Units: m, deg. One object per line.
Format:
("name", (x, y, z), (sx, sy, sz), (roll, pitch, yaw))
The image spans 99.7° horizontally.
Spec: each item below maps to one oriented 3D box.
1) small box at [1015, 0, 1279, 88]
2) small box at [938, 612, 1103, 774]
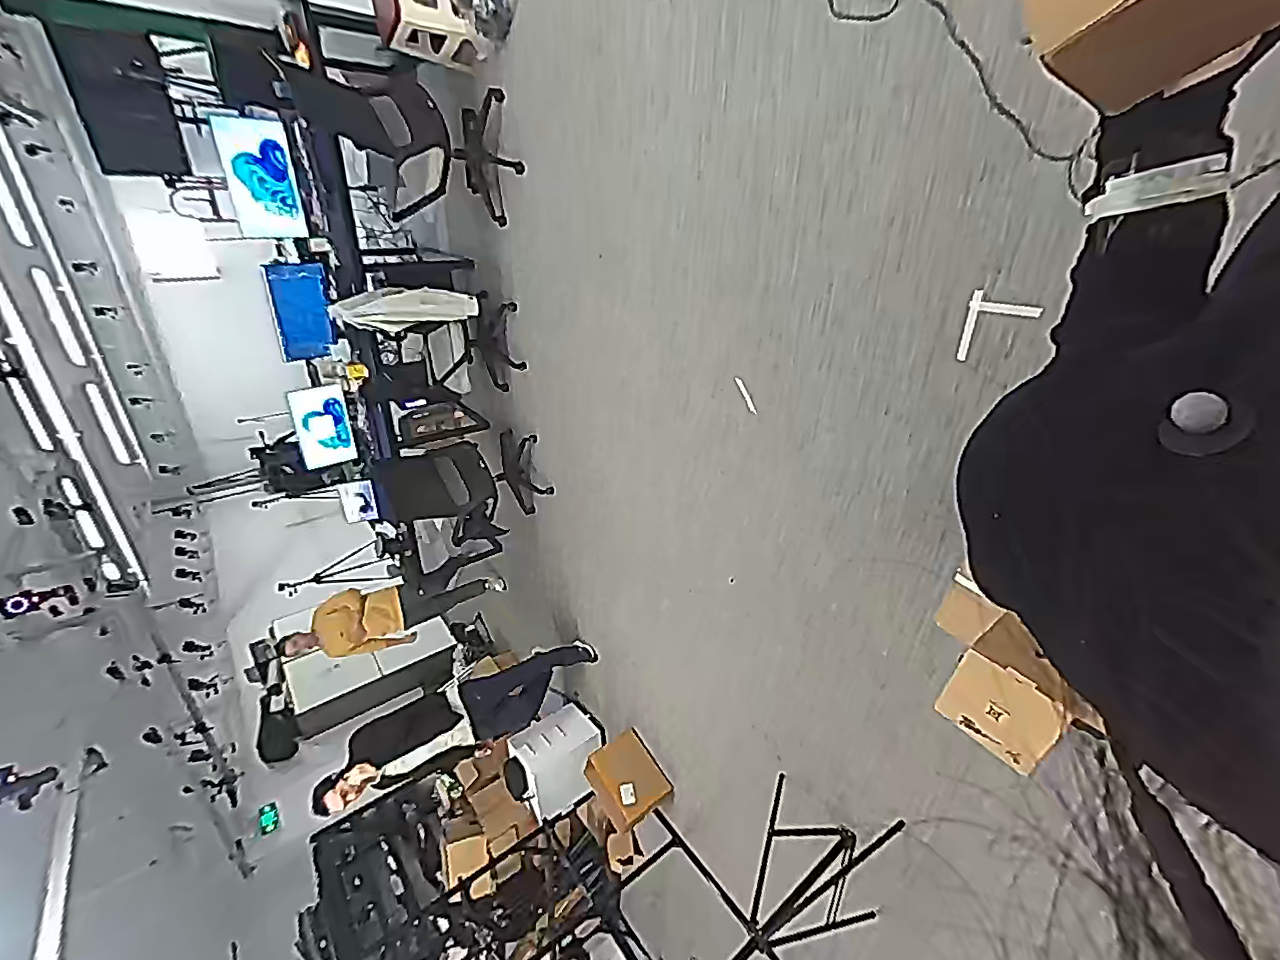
("small box", (0.262, -0.311, 0.234), (0.168, 0.176, 0.179), (-18, 91, 51))
("small box", (0.681, 0.369, 0.967), (0.168, 0.176, 0.179), (37, 133, 40))
